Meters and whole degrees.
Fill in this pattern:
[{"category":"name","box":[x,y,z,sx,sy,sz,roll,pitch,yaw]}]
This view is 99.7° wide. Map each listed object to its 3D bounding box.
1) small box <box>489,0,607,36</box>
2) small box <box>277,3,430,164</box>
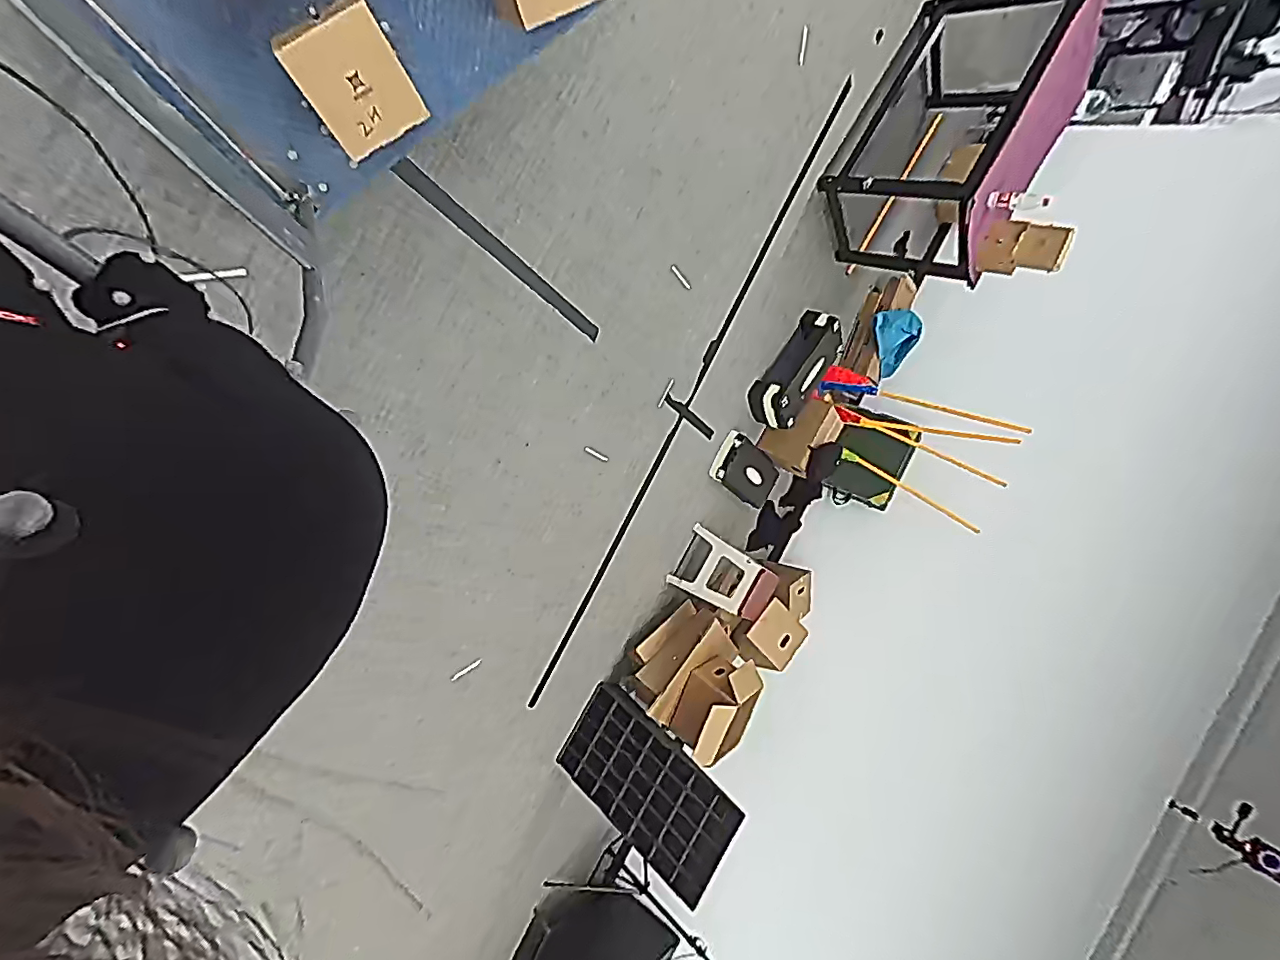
[{"category":"small box","box":[-0.186,-0.934,0.964,0.179,0.176,0.168,-29,141,-7]},{"category":"small box","box":[-0.510,-0.705,0.958,0.168,0.176,0.179,-33,141,-3]}]
